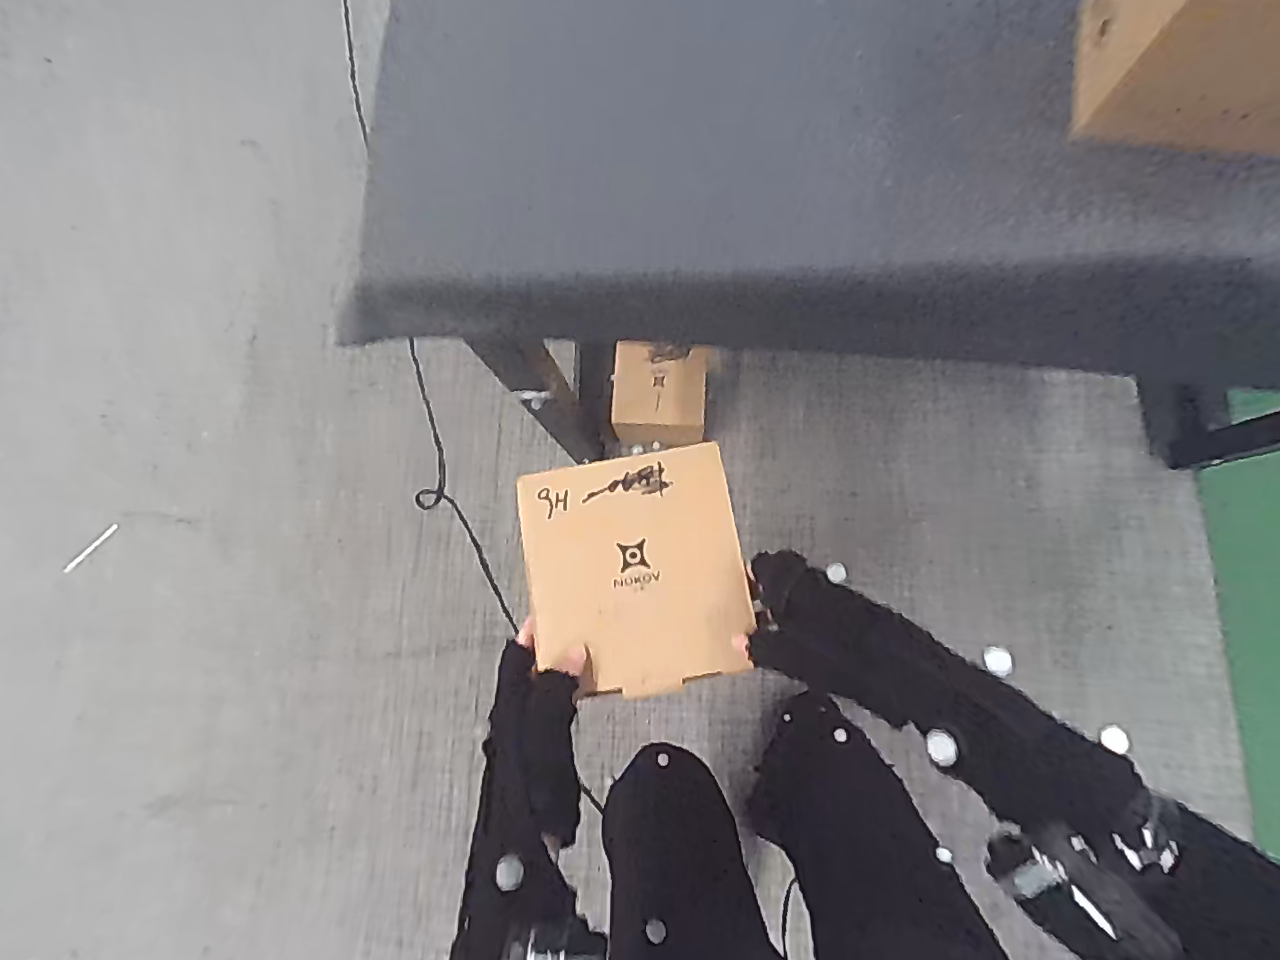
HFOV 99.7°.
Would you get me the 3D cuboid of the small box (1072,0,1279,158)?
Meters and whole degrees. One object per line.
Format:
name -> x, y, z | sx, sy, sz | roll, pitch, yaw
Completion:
small box -> 0.394, -0.313, 0.301 | 0.179, 0.176, 0.168 | 10, 78, 7
